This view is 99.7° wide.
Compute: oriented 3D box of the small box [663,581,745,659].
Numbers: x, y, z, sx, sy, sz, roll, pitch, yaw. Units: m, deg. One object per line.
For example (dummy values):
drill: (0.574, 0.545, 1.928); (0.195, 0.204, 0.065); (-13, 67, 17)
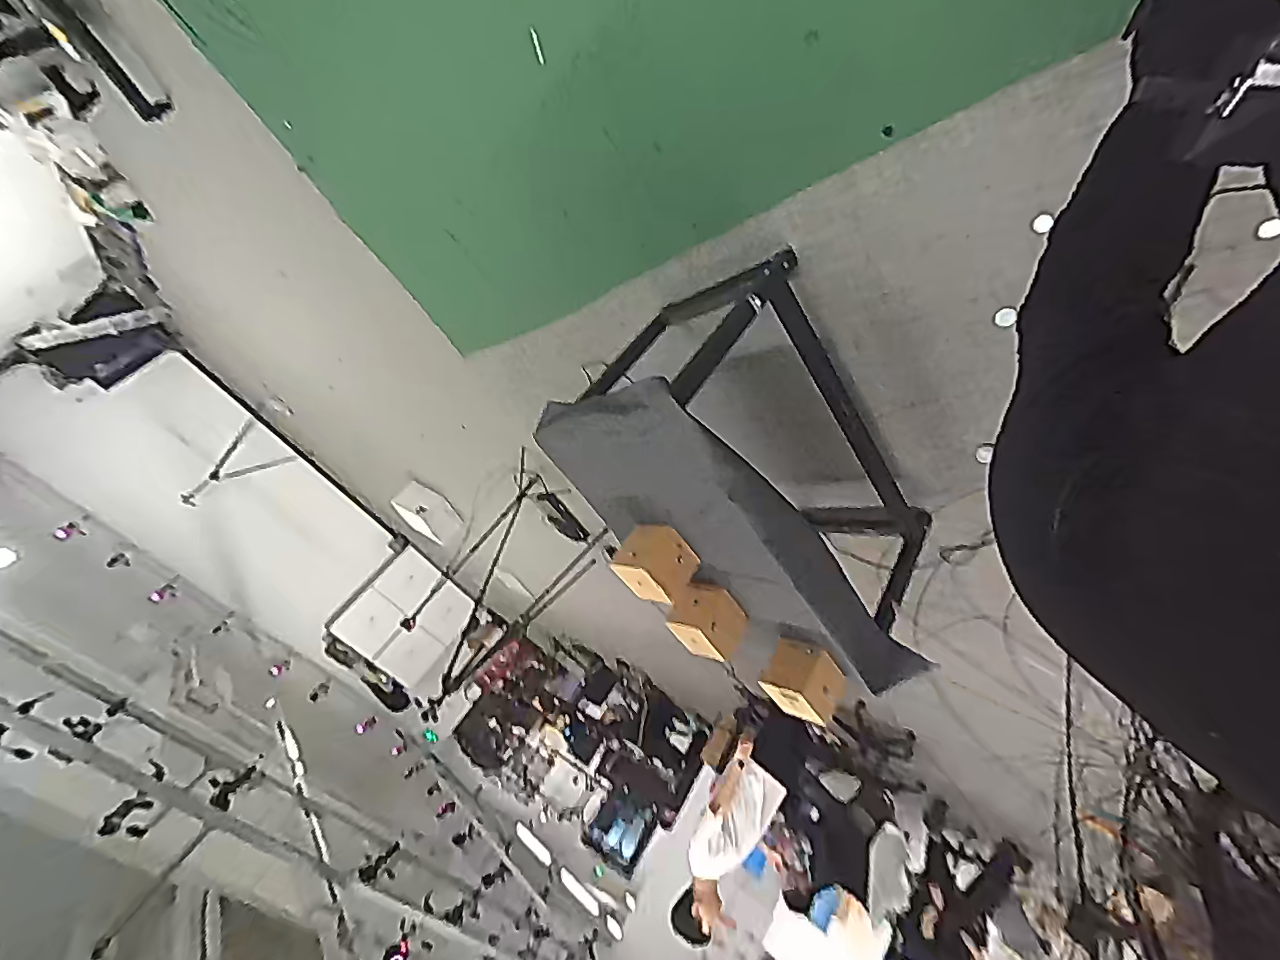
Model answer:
small box: (0.214, 0.453, 1.776); (0.168, 0.176, 0.179); (-3, 133, 49)

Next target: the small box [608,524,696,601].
small box: (0.041, 0.248, 1.669); (0.179, 0.176, 0.168); (-5, 131, 51)

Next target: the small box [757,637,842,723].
small box: (0.506, 0.621, 1.700); (0.168, 0.176, 0.179); (-3, 133, 52)
